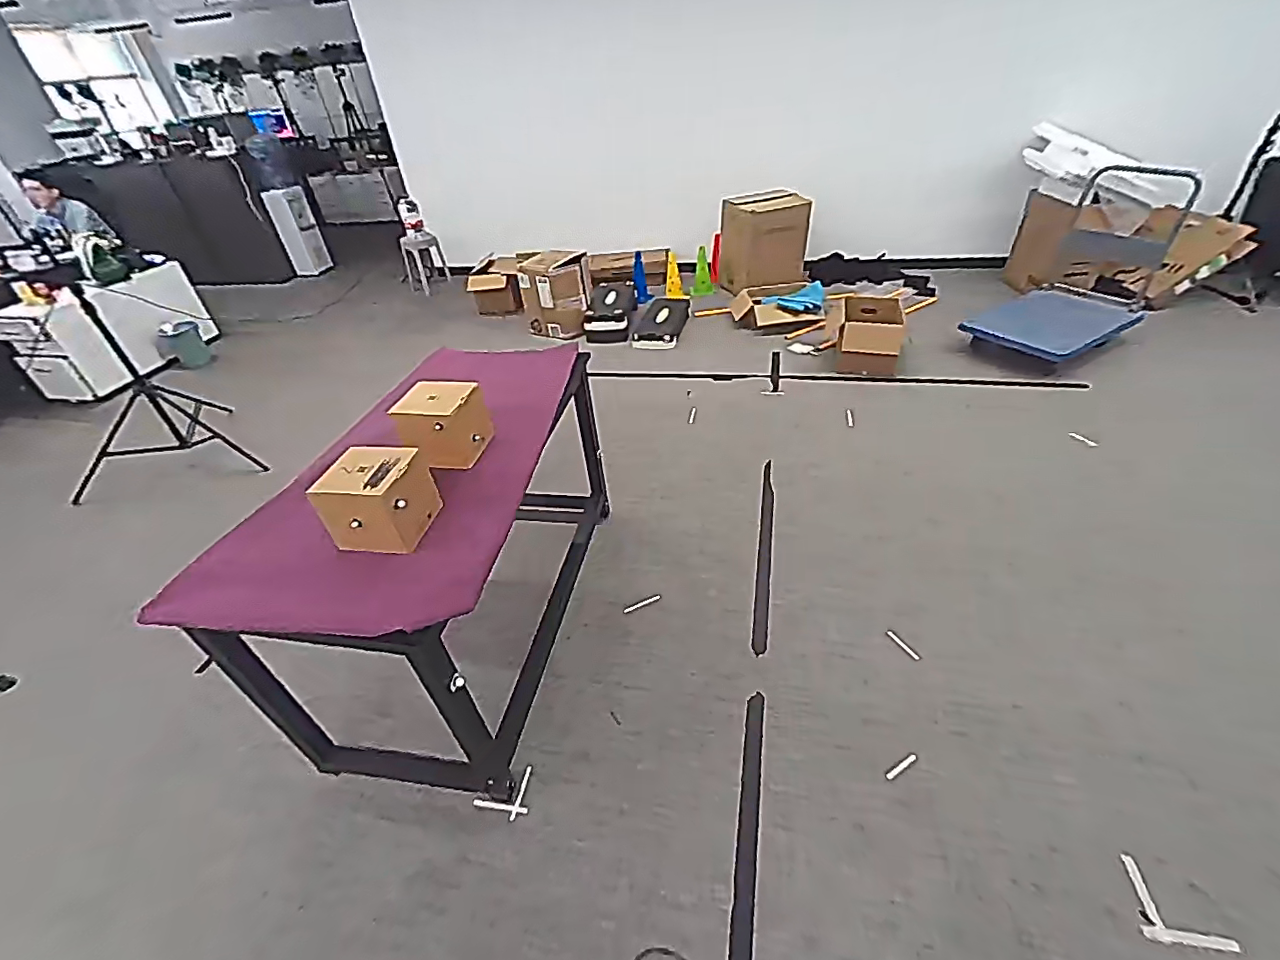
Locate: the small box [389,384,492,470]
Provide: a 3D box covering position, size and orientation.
[{"bbox_3d":[-0.518,-0.141,1.426,0.179,0.176,0.168,3,39,11],"label":"small box"}]
